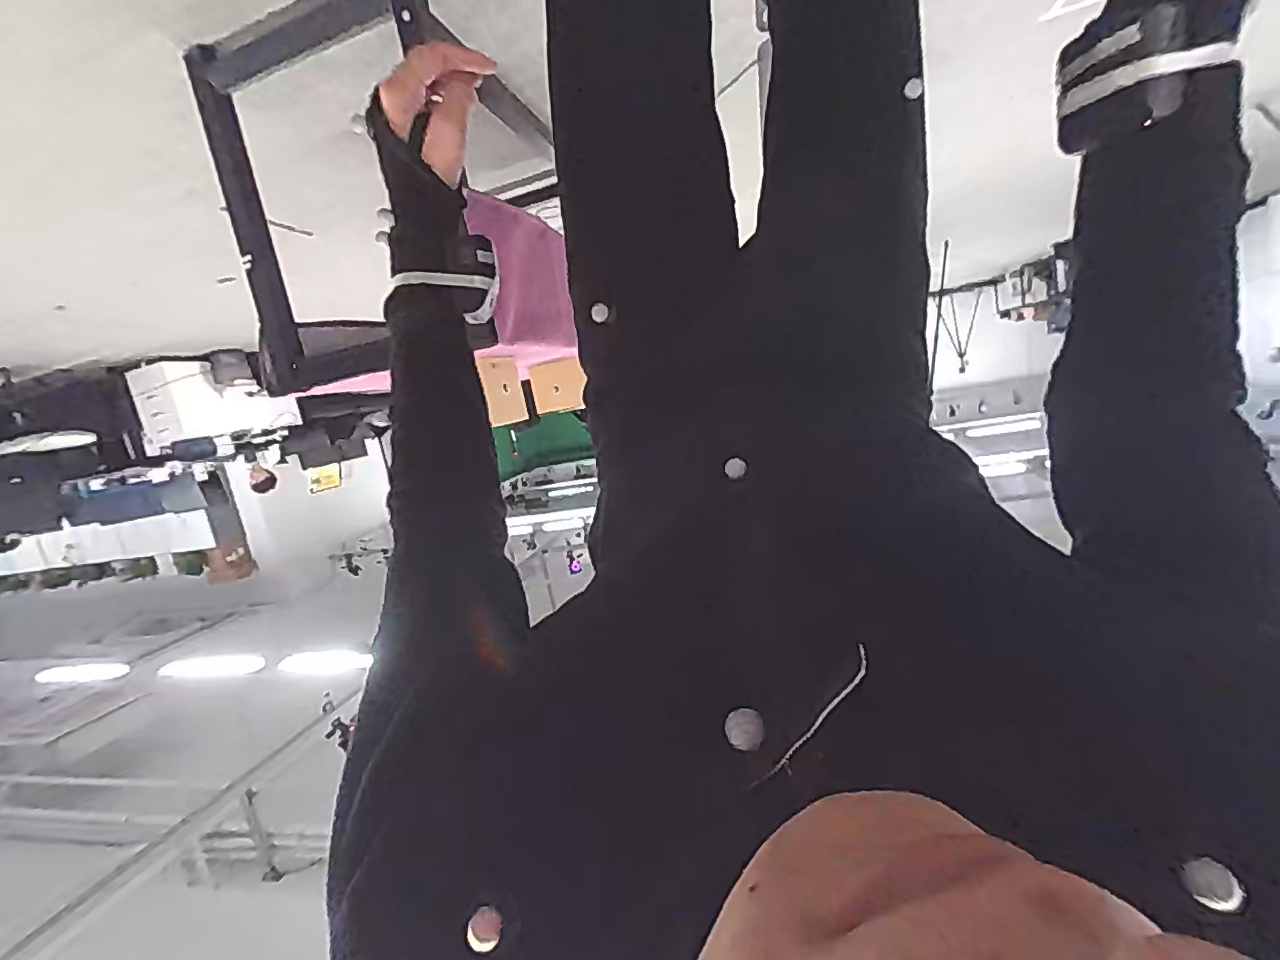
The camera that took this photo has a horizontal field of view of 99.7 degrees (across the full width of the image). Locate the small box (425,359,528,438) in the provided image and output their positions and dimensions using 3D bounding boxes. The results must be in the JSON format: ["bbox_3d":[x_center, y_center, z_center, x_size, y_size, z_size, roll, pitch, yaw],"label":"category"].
[{"bbox_3d":[-0.418,-0.214,1.385,0.179,0.176,0.168,-7,-170,23],"label":"small box"}]

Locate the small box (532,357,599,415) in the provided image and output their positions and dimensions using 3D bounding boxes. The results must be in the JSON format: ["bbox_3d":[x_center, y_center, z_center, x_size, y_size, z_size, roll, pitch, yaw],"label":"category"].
[{"bbox_3d":[-0.269,-0.337,1.934,0.179,0.176,0.168,-9,-170,21],"label":"small box"}]
